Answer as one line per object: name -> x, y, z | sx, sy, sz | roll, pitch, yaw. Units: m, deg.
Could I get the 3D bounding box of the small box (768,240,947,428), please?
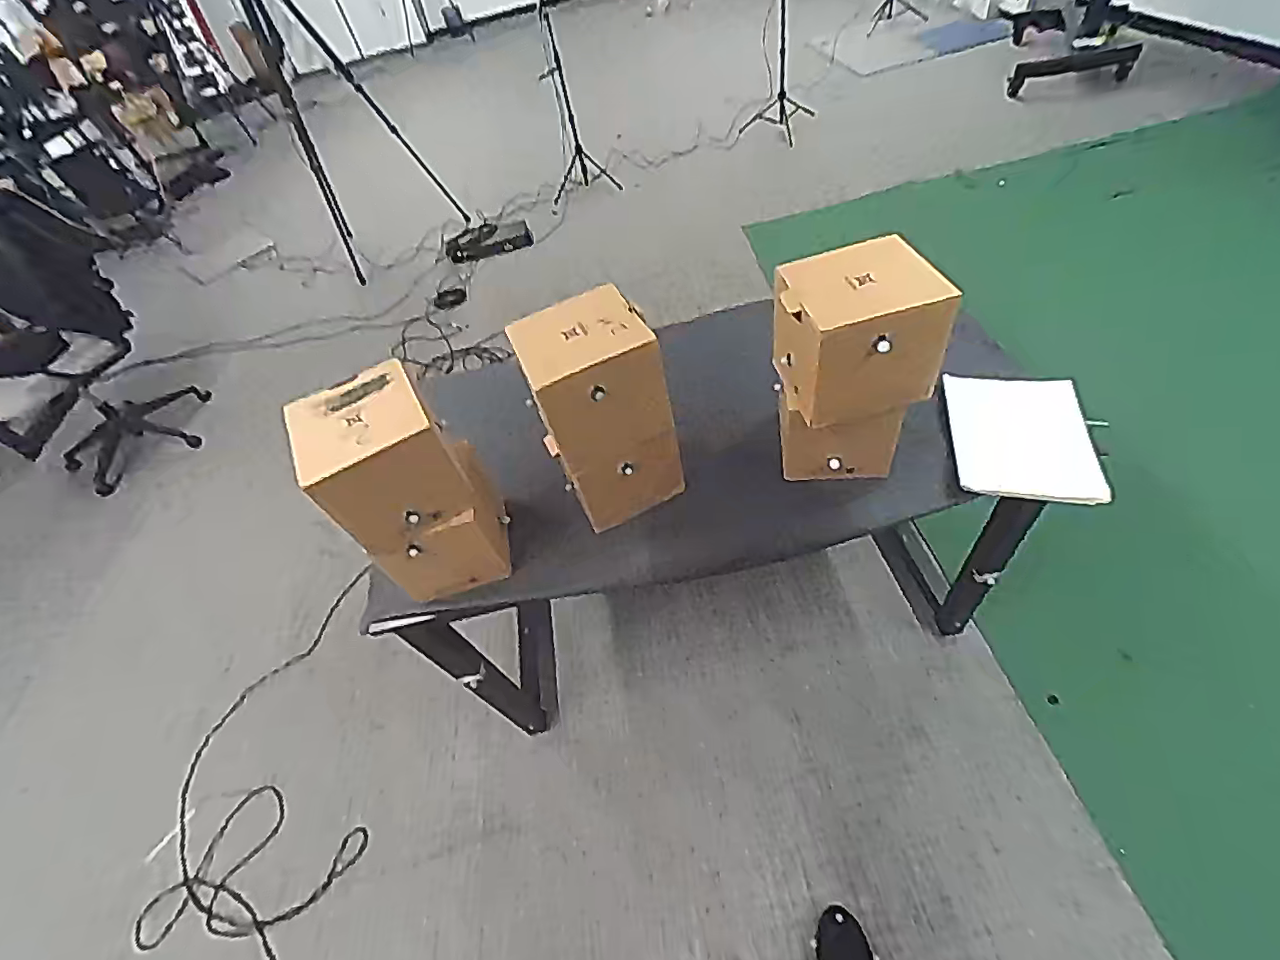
small box -> 0.289, -0.201, 0.763 | 0.179, 0.176, 0.168 | -16, 49, 2

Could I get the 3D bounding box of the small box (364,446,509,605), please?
small box -> -0.329, 0.078, 0.899 | 0.168, 0.176, 0.179 | -18, 50, -2

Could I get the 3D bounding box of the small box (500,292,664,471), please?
small box -> -0.081, -0.142, 0.805 | 0.179, 0.176, 0.168 | -25, 51, -7

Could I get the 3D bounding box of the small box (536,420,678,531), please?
small box -> -0.052, -0.041, 0.932 | 0.179, 0.176, 0.168 | -27, 51, -9

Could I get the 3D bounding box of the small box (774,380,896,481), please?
small box -> 0.312, -0.118, 0.903 | 0.168, 0.176, 0.179 | -3, 51, 12
